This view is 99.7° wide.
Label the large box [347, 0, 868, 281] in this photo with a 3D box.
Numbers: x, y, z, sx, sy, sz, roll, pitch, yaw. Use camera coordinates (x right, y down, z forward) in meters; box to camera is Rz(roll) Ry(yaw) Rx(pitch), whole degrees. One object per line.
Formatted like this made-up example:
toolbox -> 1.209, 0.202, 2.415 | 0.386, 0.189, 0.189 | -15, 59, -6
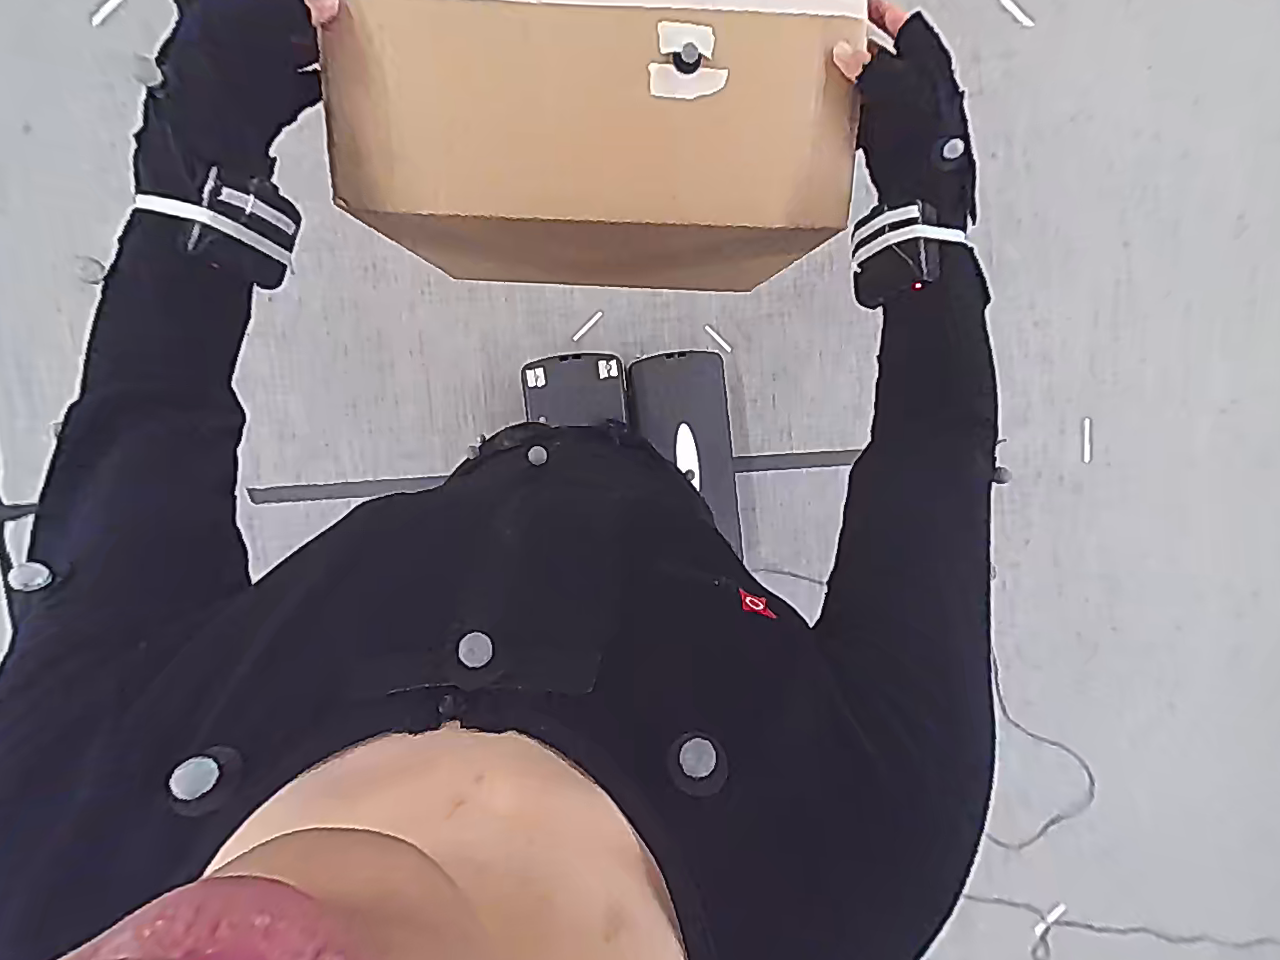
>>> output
large box -> -0.029, -0.395, 0.556 | 0.408, 0.320, 0.320 | 1, 101, -3
